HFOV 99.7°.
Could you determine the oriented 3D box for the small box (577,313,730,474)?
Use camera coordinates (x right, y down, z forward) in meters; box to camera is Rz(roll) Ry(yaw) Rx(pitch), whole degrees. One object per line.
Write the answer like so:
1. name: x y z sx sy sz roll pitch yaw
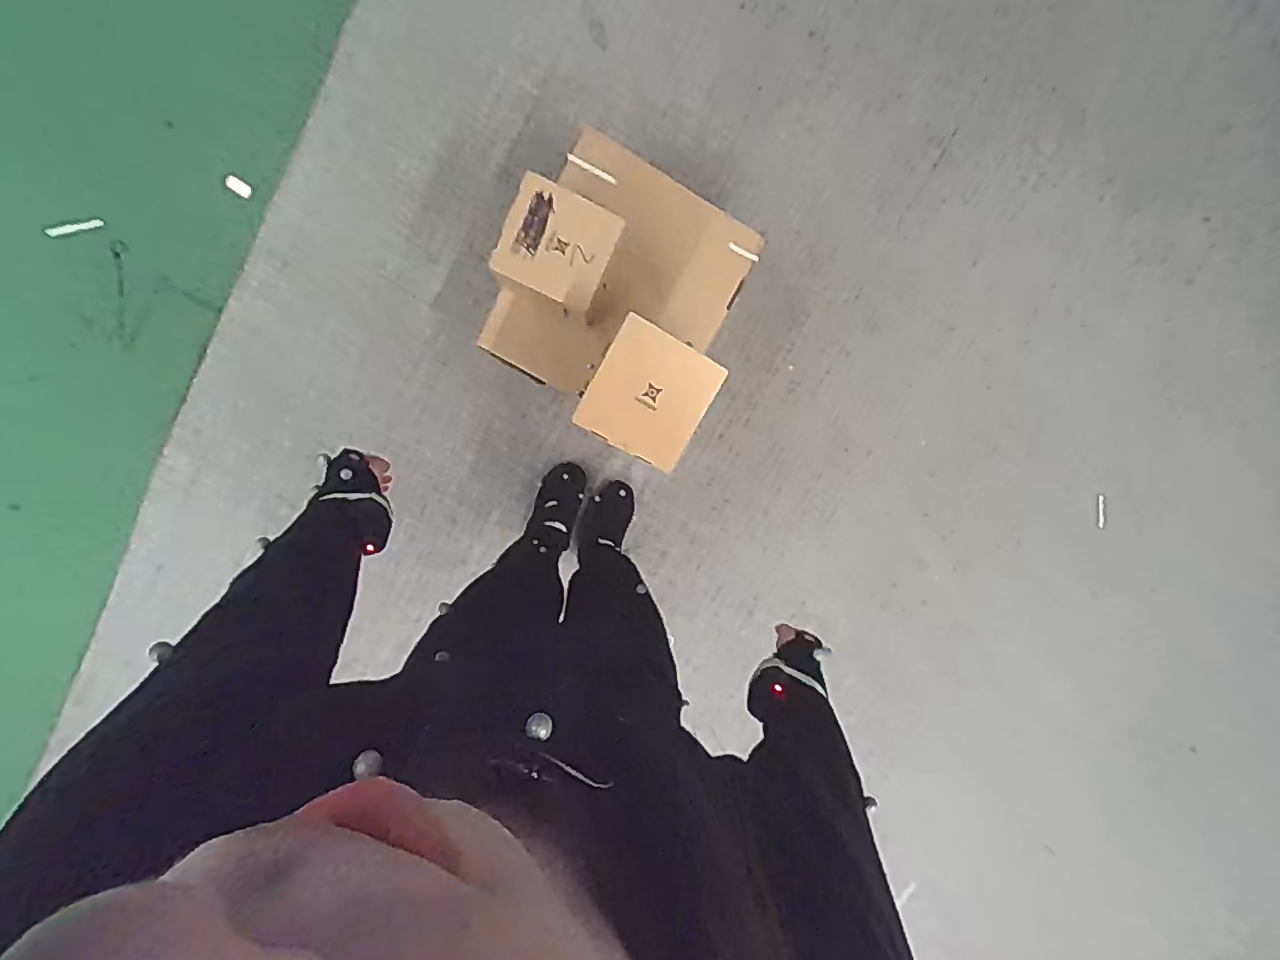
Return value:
1. small box: 0.011 -0.136 0.848 0.168 0.176 0.179 29 97 -10
